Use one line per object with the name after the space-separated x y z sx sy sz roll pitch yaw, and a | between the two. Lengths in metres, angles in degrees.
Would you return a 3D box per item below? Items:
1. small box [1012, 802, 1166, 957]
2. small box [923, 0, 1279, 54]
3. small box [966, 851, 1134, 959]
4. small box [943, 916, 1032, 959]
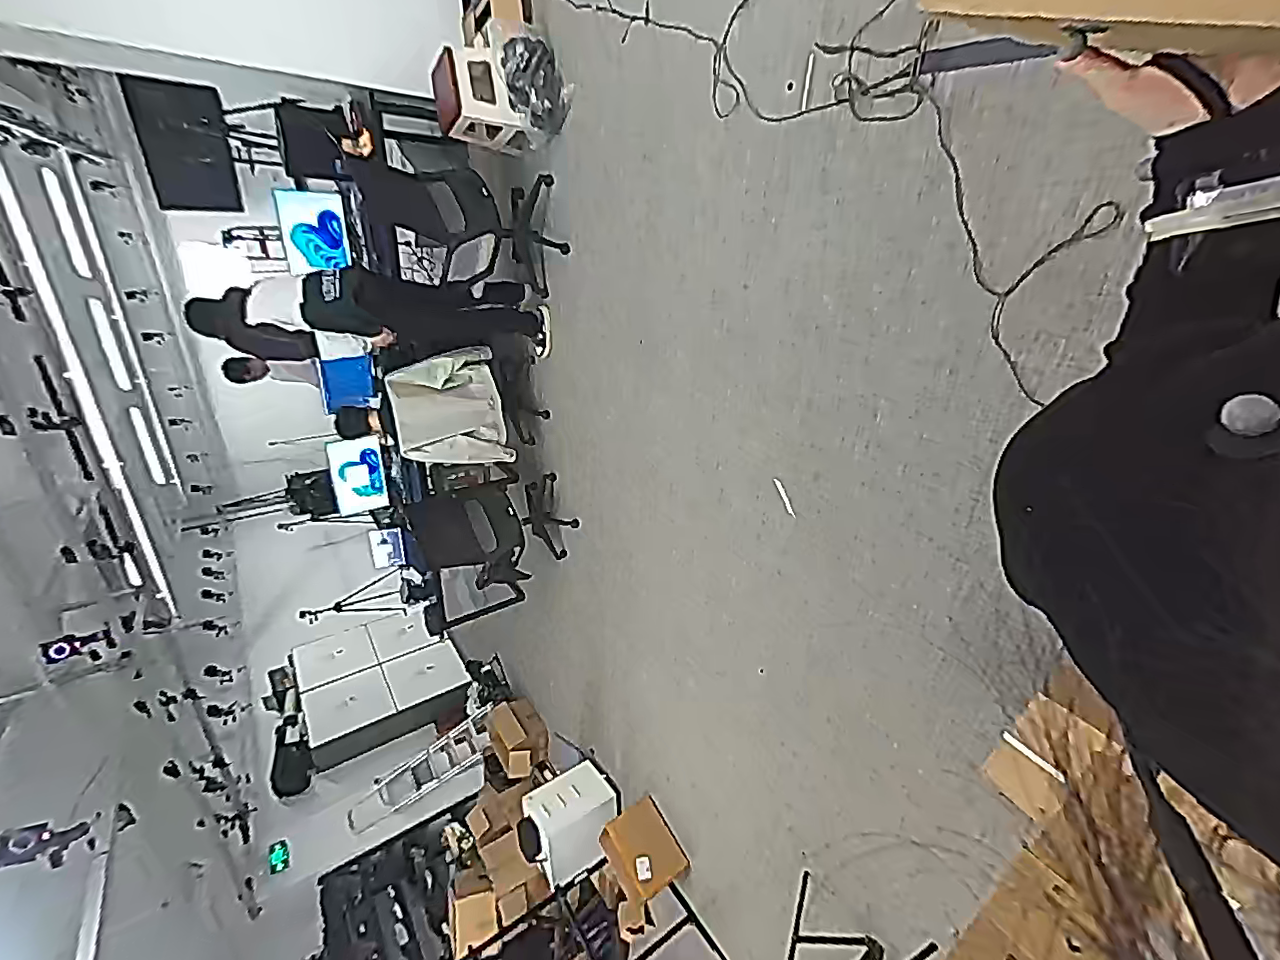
0.775 0.719 0.955 0.168 0.176 0.179 39 132 42 | small box
0.278 -0.309 0.247 0.179 0.176 0.168 40 140 34 | small box
0.642 0.751 0.867 0.168 0.176 0.179 36 132 44 | small box
0.510 0.792 0.781 0.168 0.176 0.179 37 133 45 | small box
